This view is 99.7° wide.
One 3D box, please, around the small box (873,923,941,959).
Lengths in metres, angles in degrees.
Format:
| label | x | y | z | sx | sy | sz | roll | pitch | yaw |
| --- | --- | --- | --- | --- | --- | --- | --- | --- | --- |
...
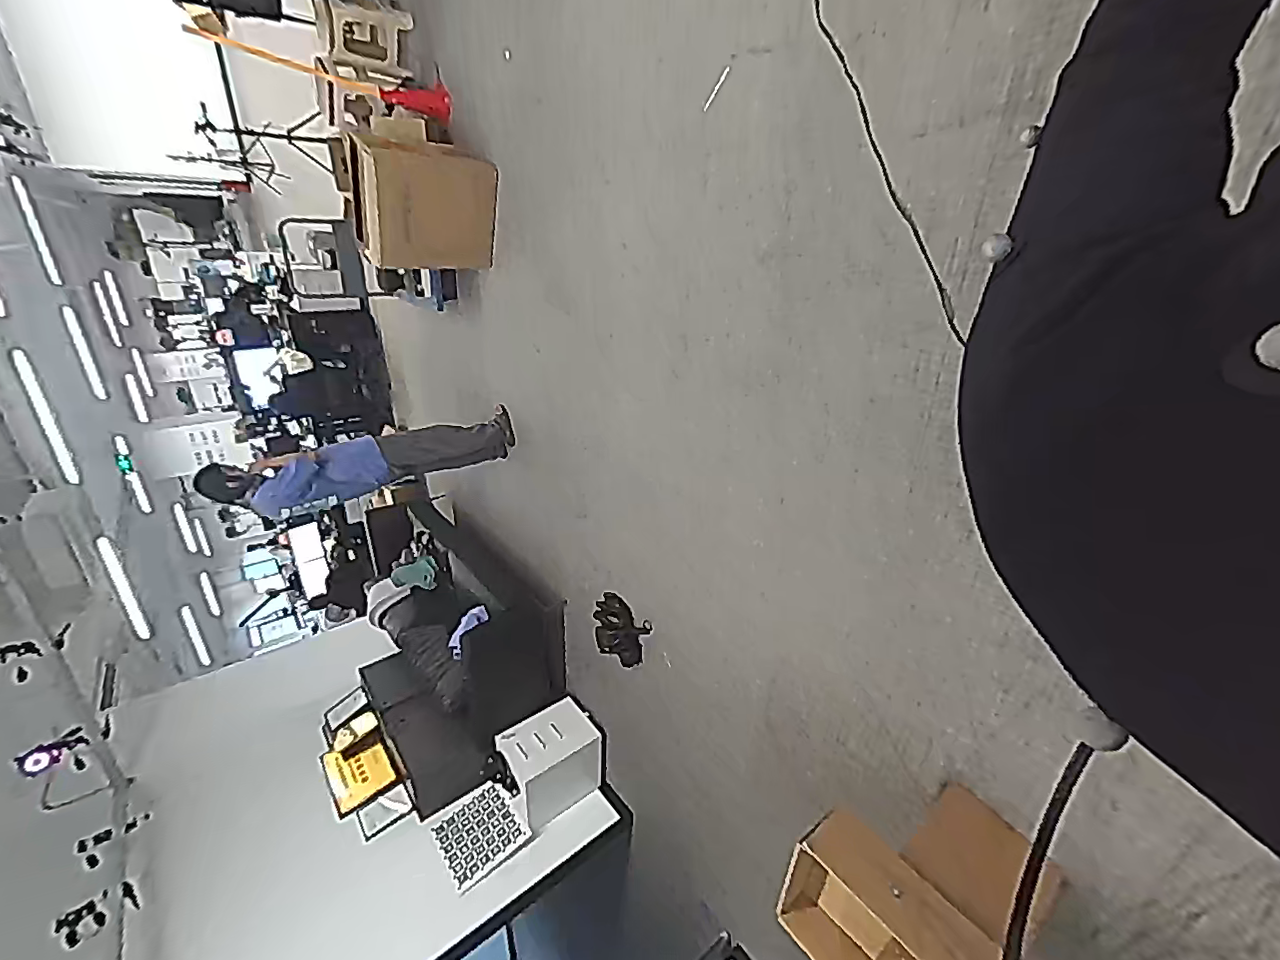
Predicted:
| label | x | y | z | sx | sy | sz | roll | pitch | yaw |
| --- | --- | --- | --- | --- | --- | --- | --- | --- | --- |
| small box | 0.673 | 1.275 | 1.355 | 0.168 | 0.176 | 0.179 | 33 | 131 | 45 |
